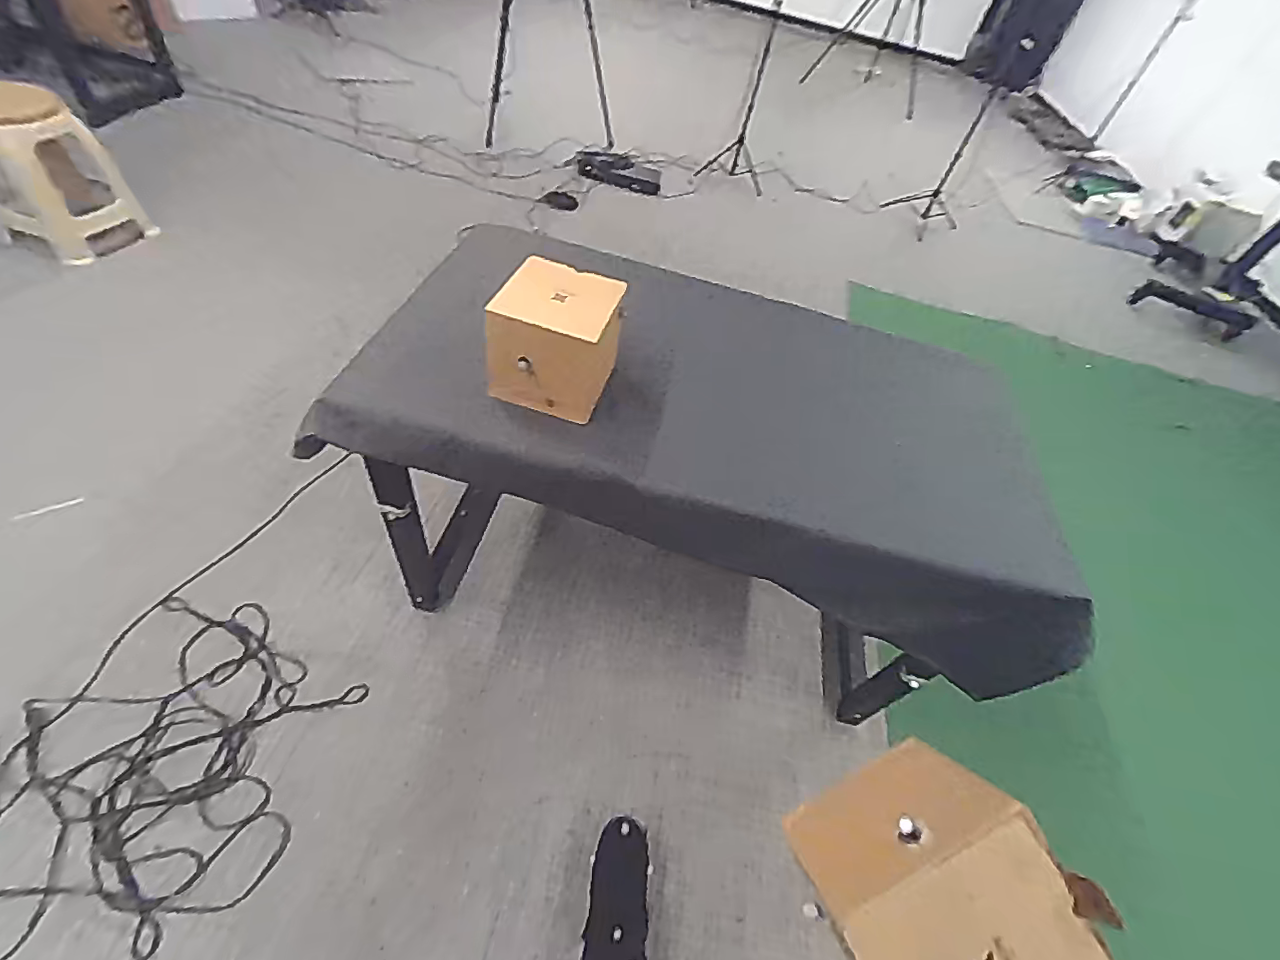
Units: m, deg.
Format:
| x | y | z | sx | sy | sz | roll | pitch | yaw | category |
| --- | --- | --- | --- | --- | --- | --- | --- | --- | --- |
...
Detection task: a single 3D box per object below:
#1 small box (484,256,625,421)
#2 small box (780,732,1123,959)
| x | y | z | sx | sy | sz | roll | pitch | yaw | category |
| --- | --- | --- | --- | --- | --- | --- | --- | --- | --- |
| -0.133 | -0.222 | 0.863 | 0.168 | 0.176 | 0.179 | 17 | 48 | 1 | small box |
| 0.255 | 0.359 | 0.480 | 0.179 | 0.176 | 0.168 | -28 | 84 | -5 | small box |
